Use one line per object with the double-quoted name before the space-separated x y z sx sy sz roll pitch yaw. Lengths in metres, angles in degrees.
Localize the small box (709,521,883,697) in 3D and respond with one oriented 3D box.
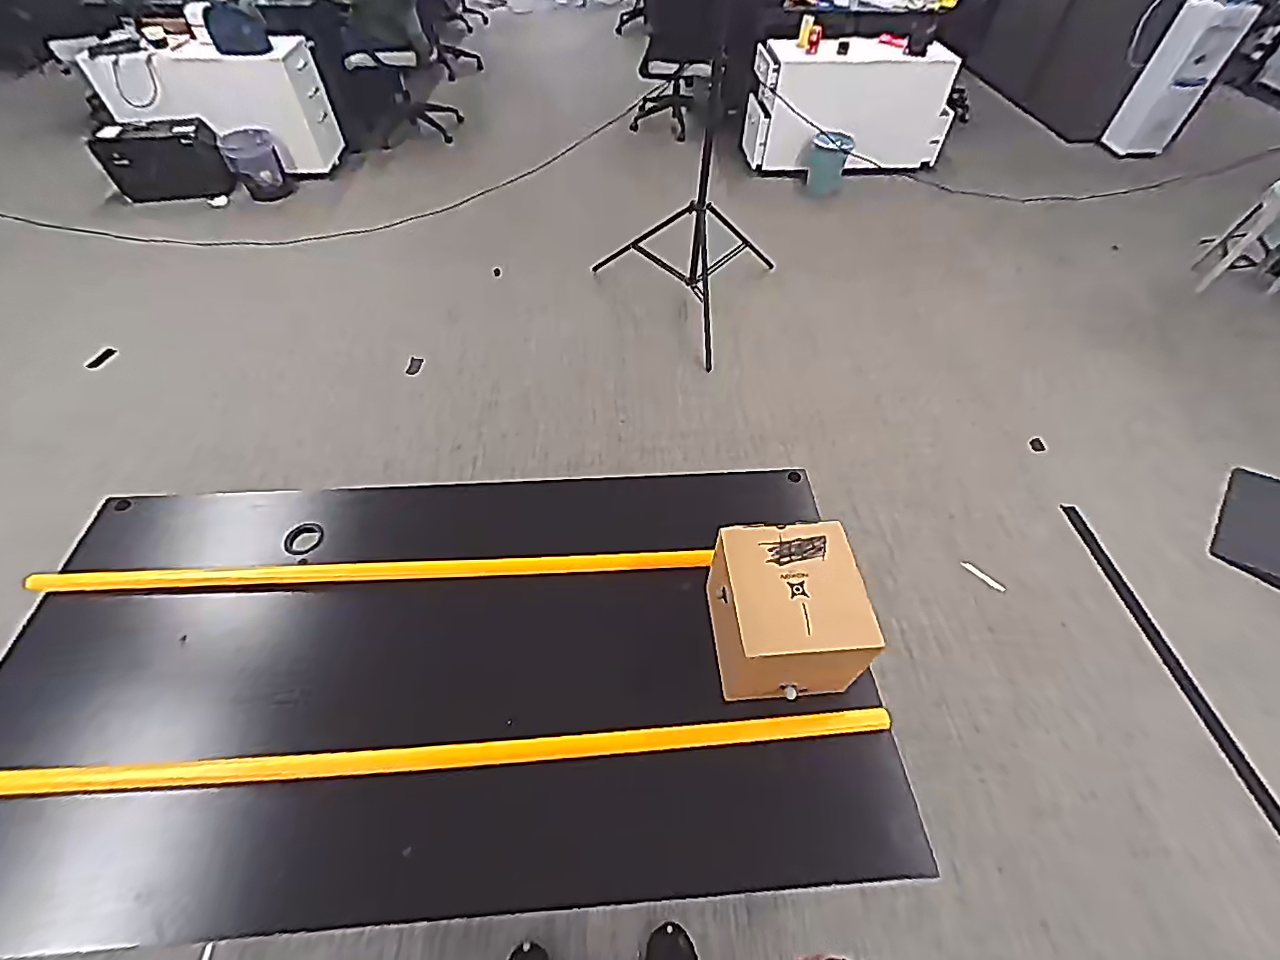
"small box" 0.193 0.176 0.733 0.168 0.176 0.179 -3 52 -3
